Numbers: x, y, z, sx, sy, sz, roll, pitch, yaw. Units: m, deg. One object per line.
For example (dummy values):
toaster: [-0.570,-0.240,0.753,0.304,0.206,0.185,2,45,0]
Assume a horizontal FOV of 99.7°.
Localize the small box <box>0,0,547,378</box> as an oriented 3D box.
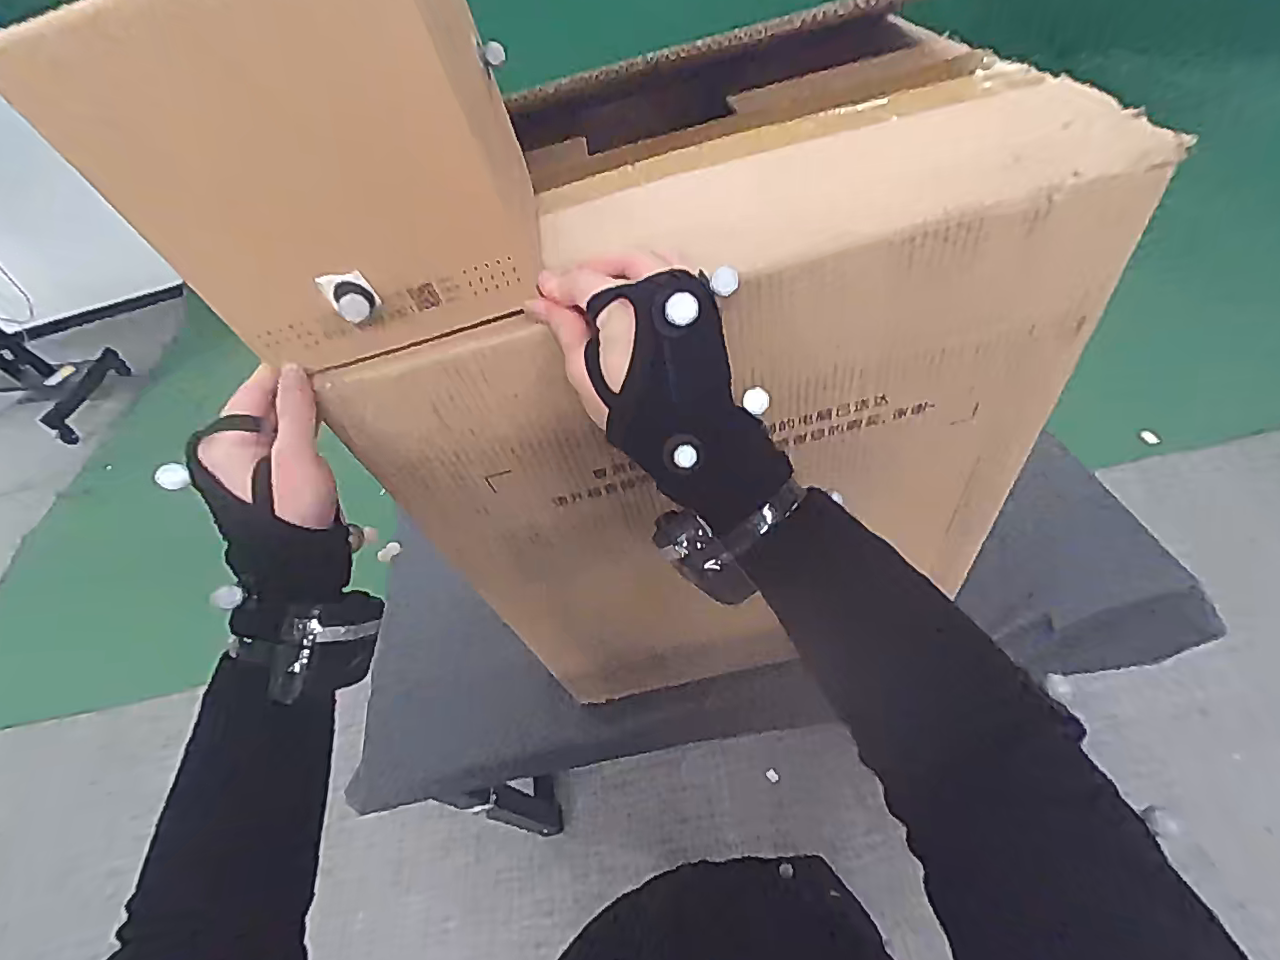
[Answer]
small box: [-0.164,-0.191,0.312,0.168,0.176,0.179,-18,51,3]
